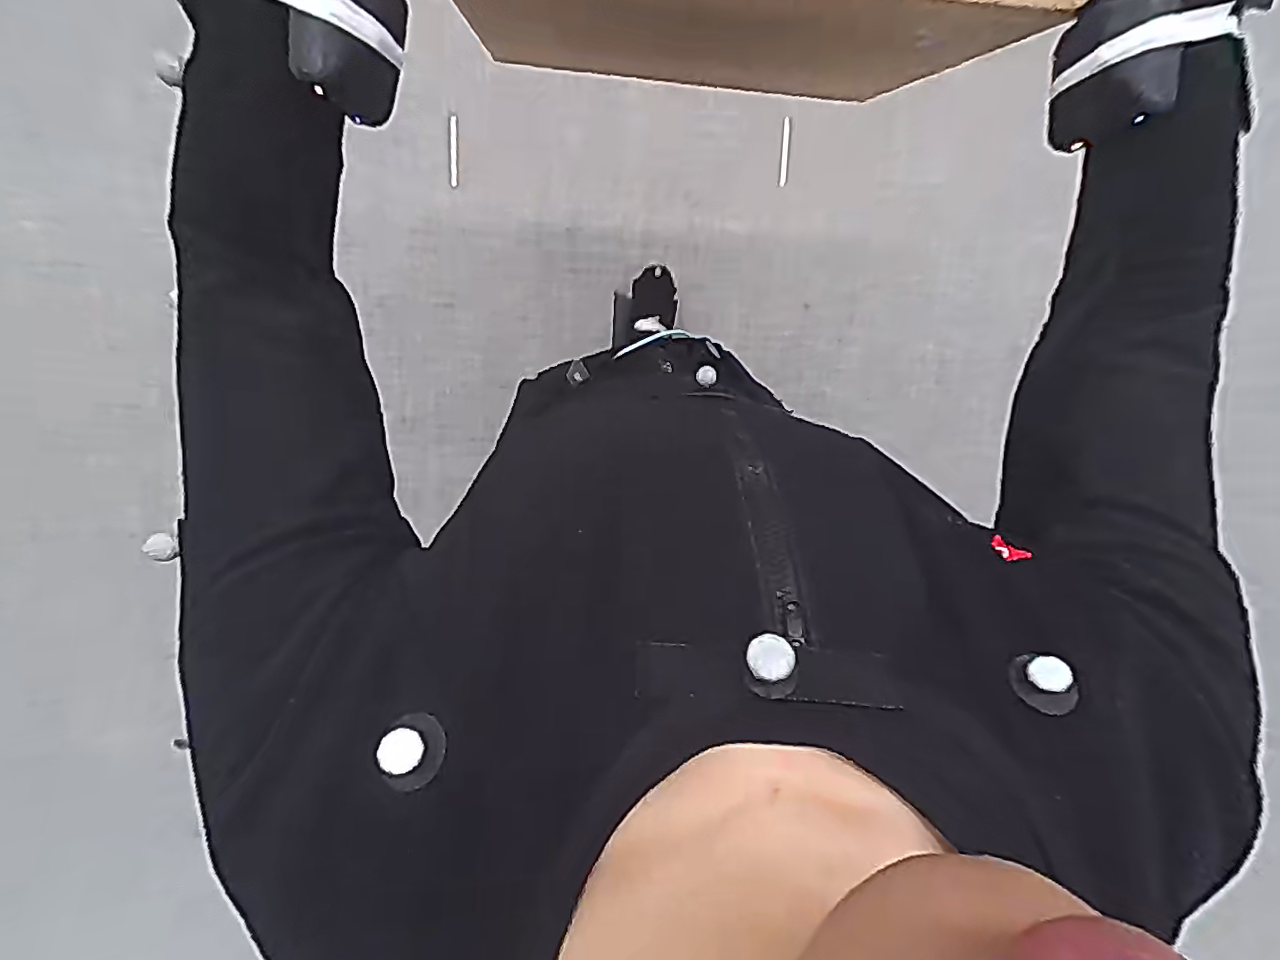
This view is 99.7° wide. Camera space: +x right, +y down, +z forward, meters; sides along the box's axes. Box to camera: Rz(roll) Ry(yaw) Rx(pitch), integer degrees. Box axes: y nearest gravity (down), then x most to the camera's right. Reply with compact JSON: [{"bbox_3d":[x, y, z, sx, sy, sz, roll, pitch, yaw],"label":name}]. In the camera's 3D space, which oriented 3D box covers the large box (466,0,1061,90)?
[{"bbox_3d":[0.068,-0.505,0.388,0.408,0.320,0.320,1,118,-6],"label":"large box"}]
